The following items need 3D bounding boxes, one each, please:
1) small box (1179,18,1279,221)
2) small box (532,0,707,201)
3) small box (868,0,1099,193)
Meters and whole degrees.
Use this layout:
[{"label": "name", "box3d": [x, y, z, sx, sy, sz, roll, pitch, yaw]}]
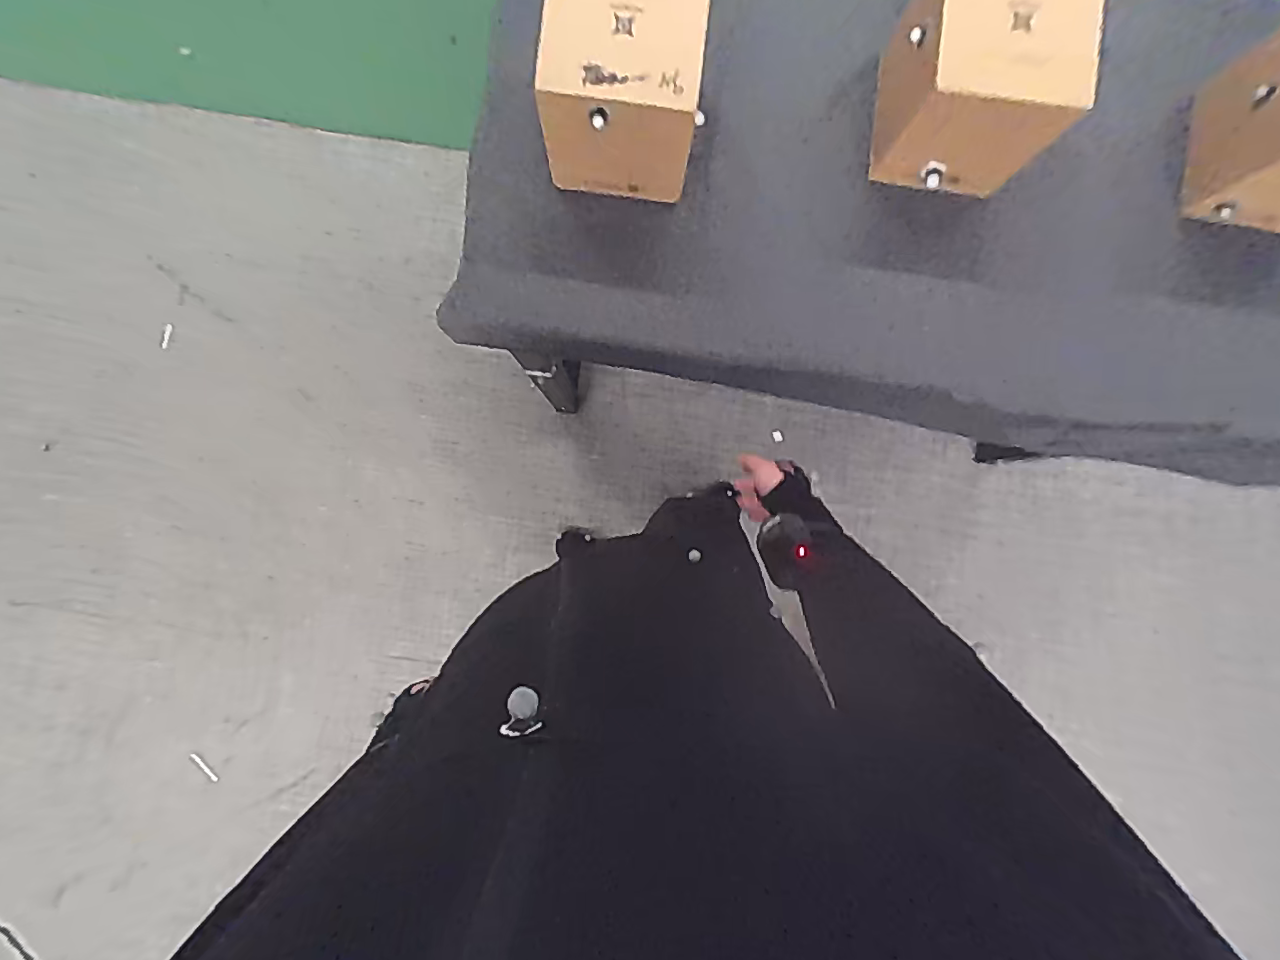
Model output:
[{"label": "small box", "box3d": [0.806, -0.439, 0.643, 0.168, 0.176, 0.179, 9, 88, -1]}, {"label": "small box", "box3d": [-0.021, -0.458, 0.619, 0.168, 0.176, 0.179, 6, 87, -1]}, {"label": "small box", "box3d": [0.387, -0.475, 0.635, 0.168, 0.176, 0.179, 6, 89, 0]}]
